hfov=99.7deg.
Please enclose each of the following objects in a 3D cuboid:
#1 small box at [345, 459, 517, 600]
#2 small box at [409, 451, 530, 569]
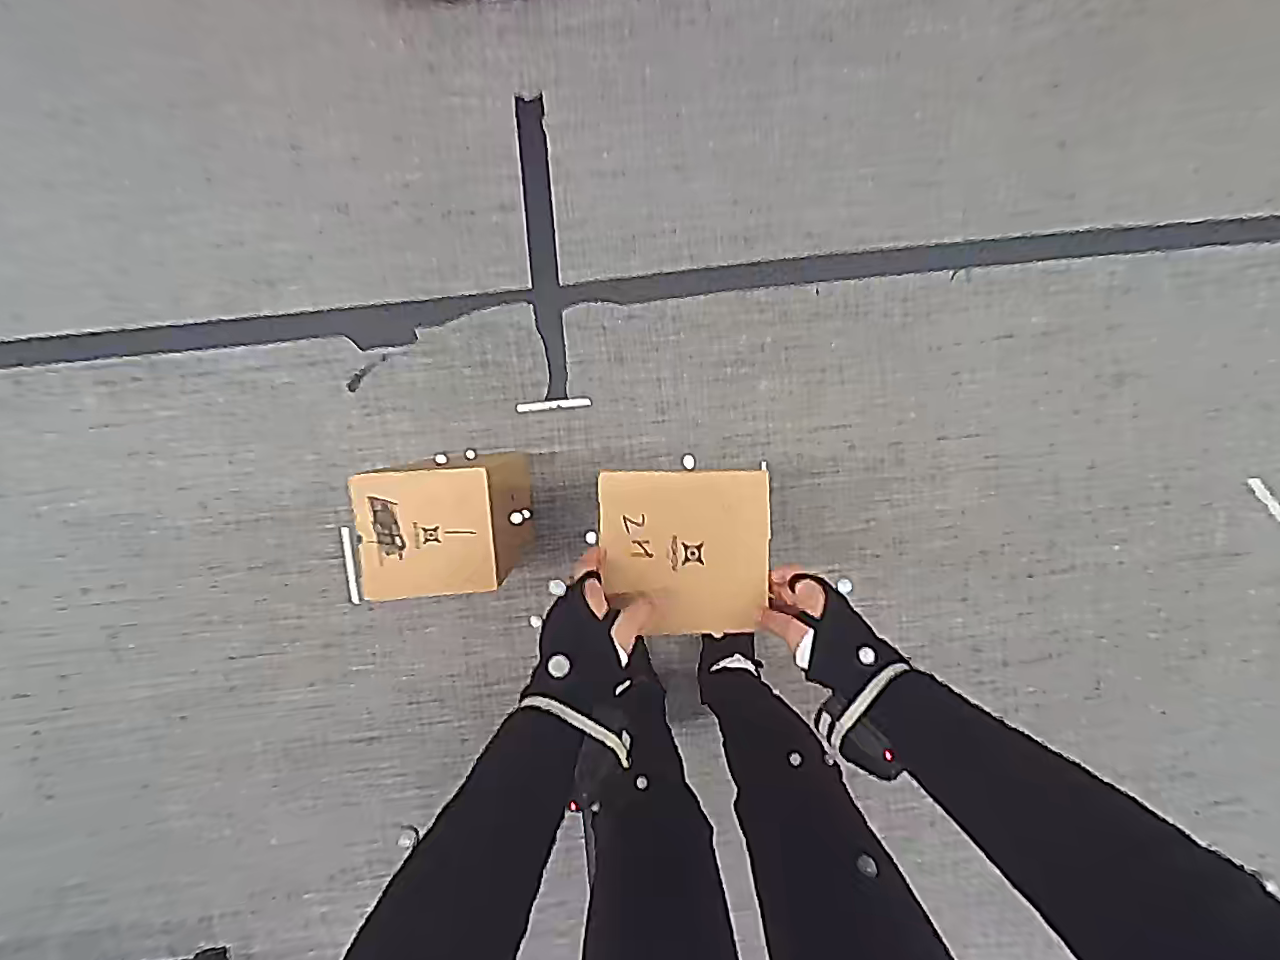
[{"bbox_3d":[-0.281,0.061,0.762,0.179,0.176,0.168,-4,97,-2],"label":"small box"},{"bbox_3d":[-0.288,0.048,0.927,0.168,0.176,0.179,-3,98,-2],"label":"small box"}]
